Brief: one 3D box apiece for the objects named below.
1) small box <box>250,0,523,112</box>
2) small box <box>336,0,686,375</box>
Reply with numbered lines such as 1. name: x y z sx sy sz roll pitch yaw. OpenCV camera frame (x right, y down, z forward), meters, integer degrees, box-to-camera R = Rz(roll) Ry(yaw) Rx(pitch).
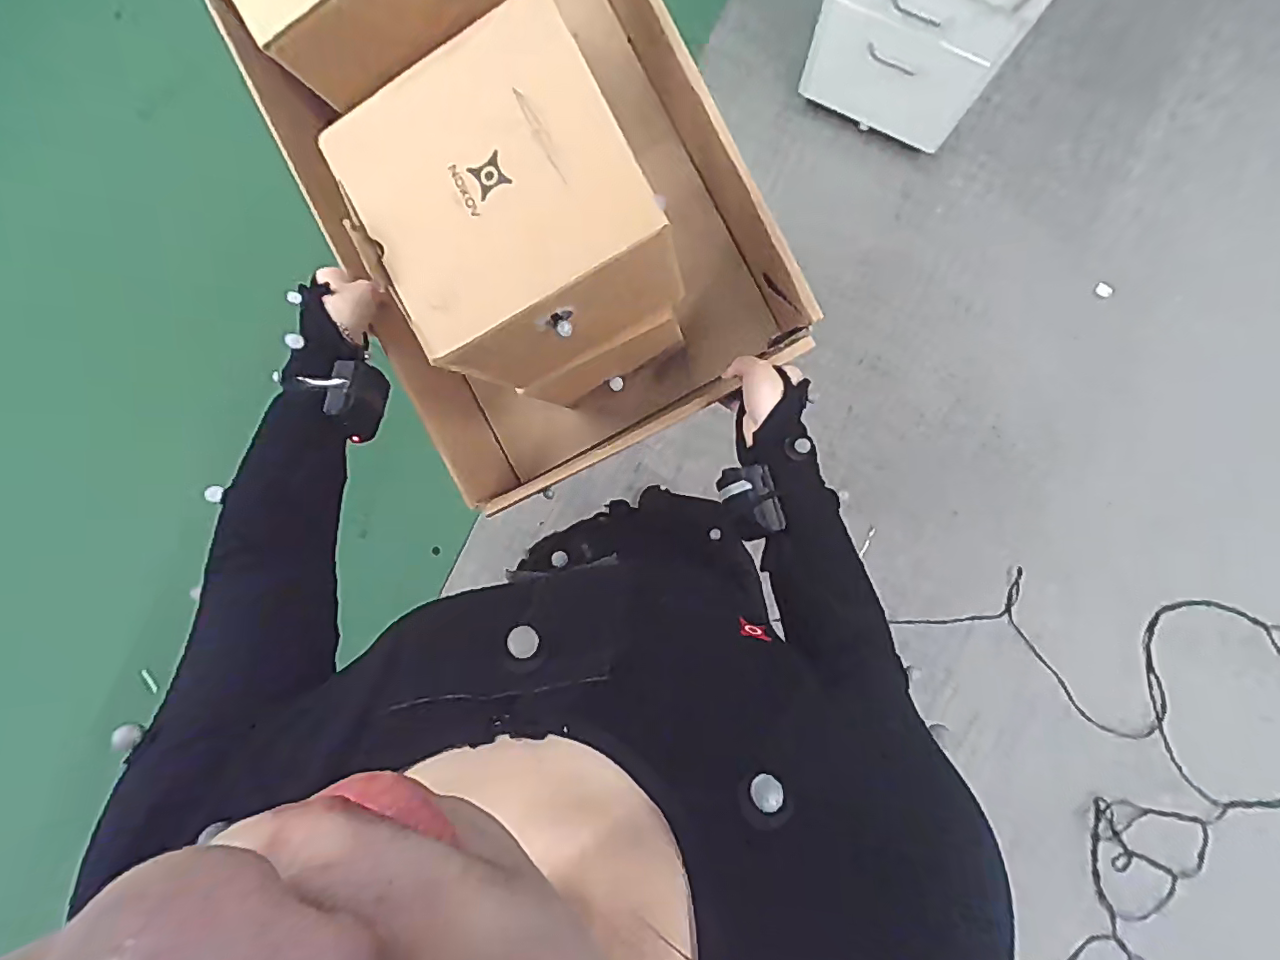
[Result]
1. small box: -0.190 -0.400 0.416 0.179 0.176 0.168 -28 92 8
2. small box: -0.077 -0.195 0.416 0.179 0.176 0.168 -26 91 8
